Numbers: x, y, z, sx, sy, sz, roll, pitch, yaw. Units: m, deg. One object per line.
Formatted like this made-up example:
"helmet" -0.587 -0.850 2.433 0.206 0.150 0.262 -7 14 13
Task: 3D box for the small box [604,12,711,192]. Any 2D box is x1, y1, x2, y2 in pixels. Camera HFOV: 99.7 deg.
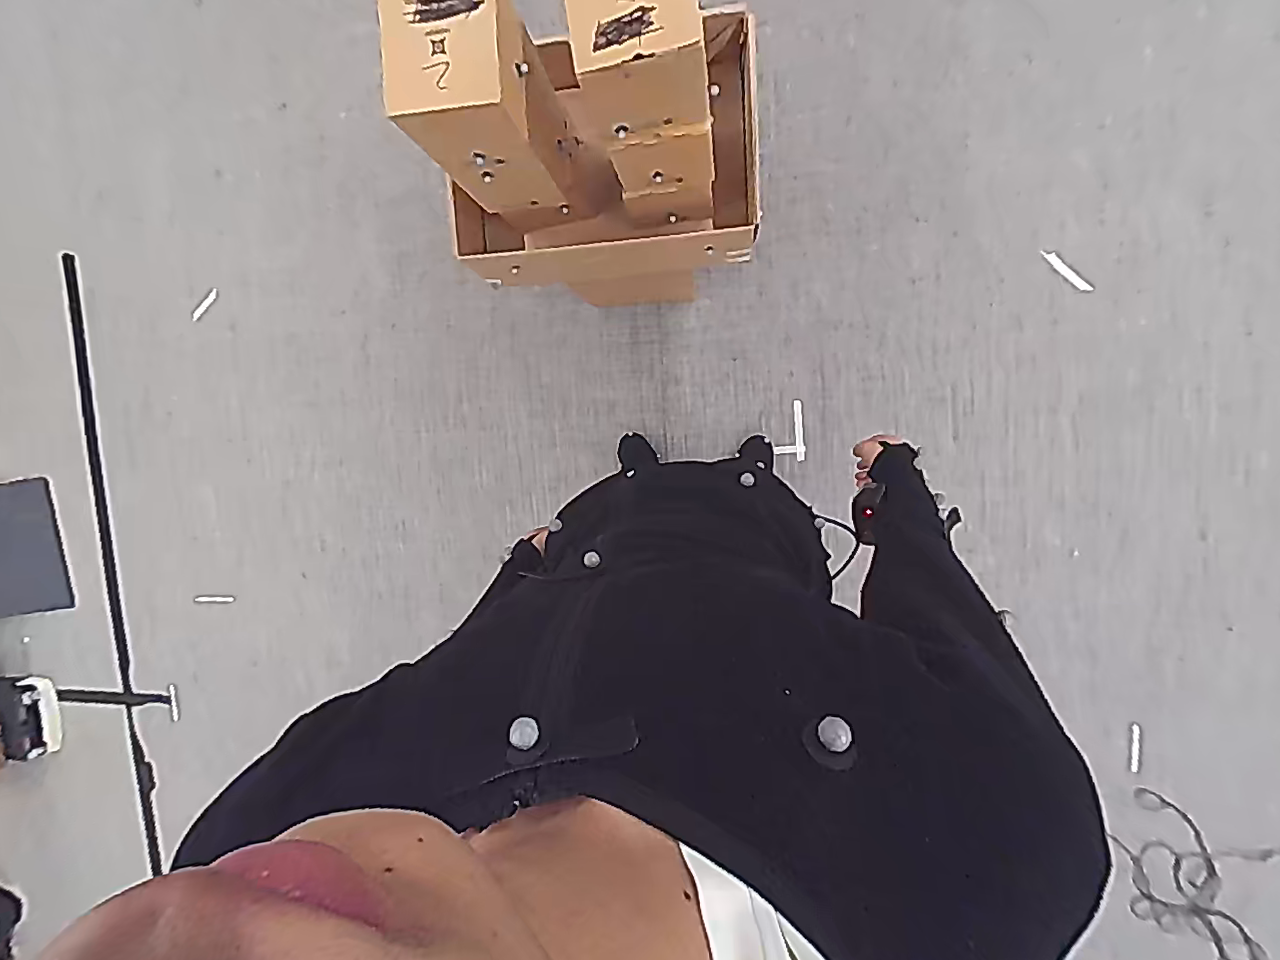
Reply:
"small box" 0.030 -0.619 0.907 0.168 0.176 0.179 -5 95 9

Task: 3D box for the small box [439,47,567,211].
"small box" -0.232 -0.603 0.949 0.168 0.176 0.179 -2 94 10

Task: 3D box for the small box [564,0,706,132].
"small box" -0.002 -0.616 0.746 0.168 0.176 0.179 -8 94 9
